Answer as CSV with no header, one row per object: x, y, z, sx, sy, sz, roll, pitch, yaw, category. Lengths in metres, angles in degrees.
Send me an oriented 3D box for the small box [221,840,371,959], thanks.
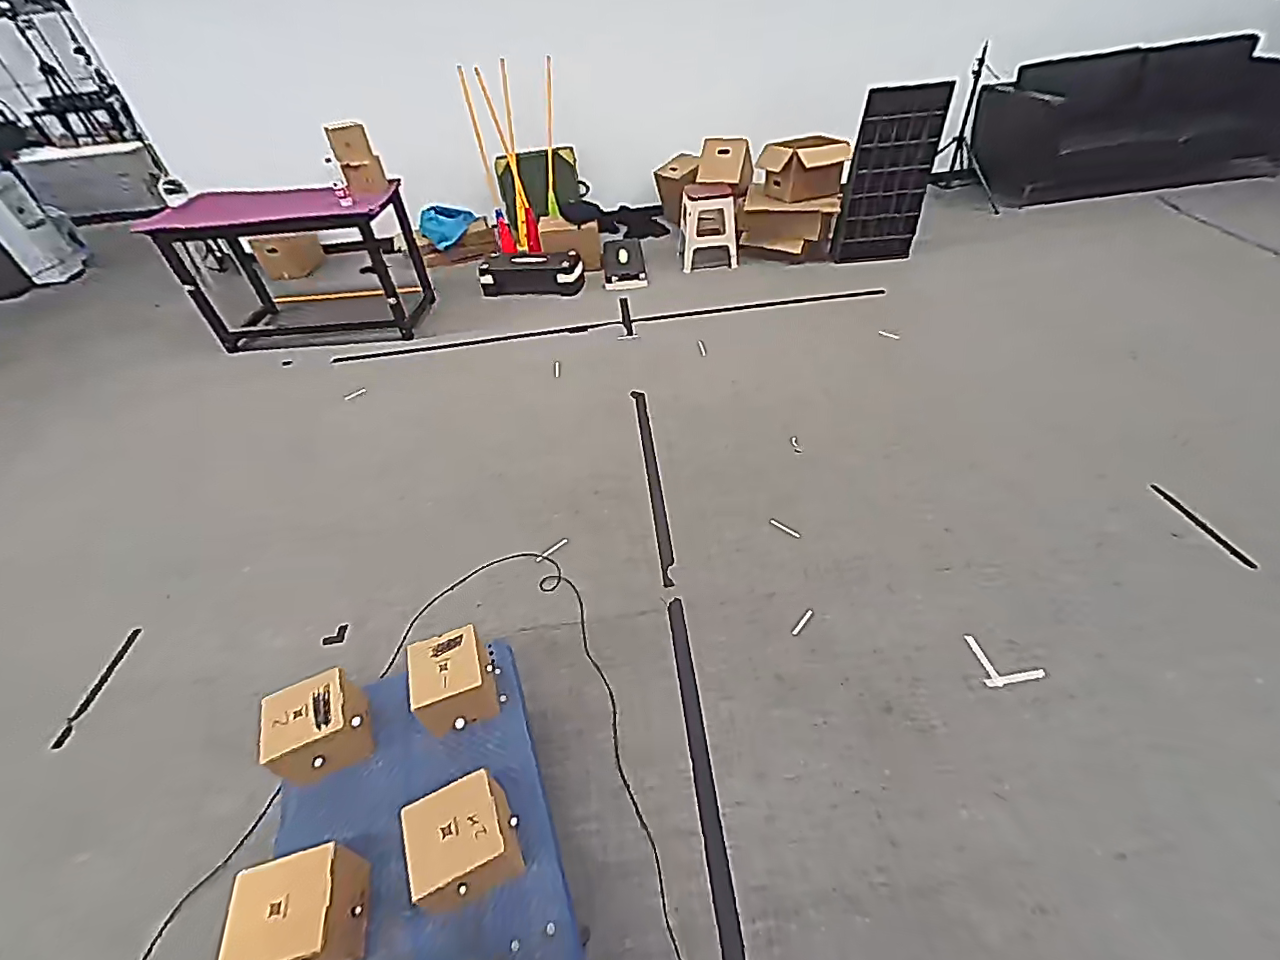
-0.635,0.821,1.018,0.179,0.176,0.168,-13,43,-10,small box

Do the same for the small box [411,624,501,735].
-0.457,0.497,1.346,0.168,0.176,0.179,-17,45,-12,small box

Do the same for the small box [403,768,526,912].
-0.350,0.726,1.088,0.179,0.176,0.168,-21,45,-15,small box
